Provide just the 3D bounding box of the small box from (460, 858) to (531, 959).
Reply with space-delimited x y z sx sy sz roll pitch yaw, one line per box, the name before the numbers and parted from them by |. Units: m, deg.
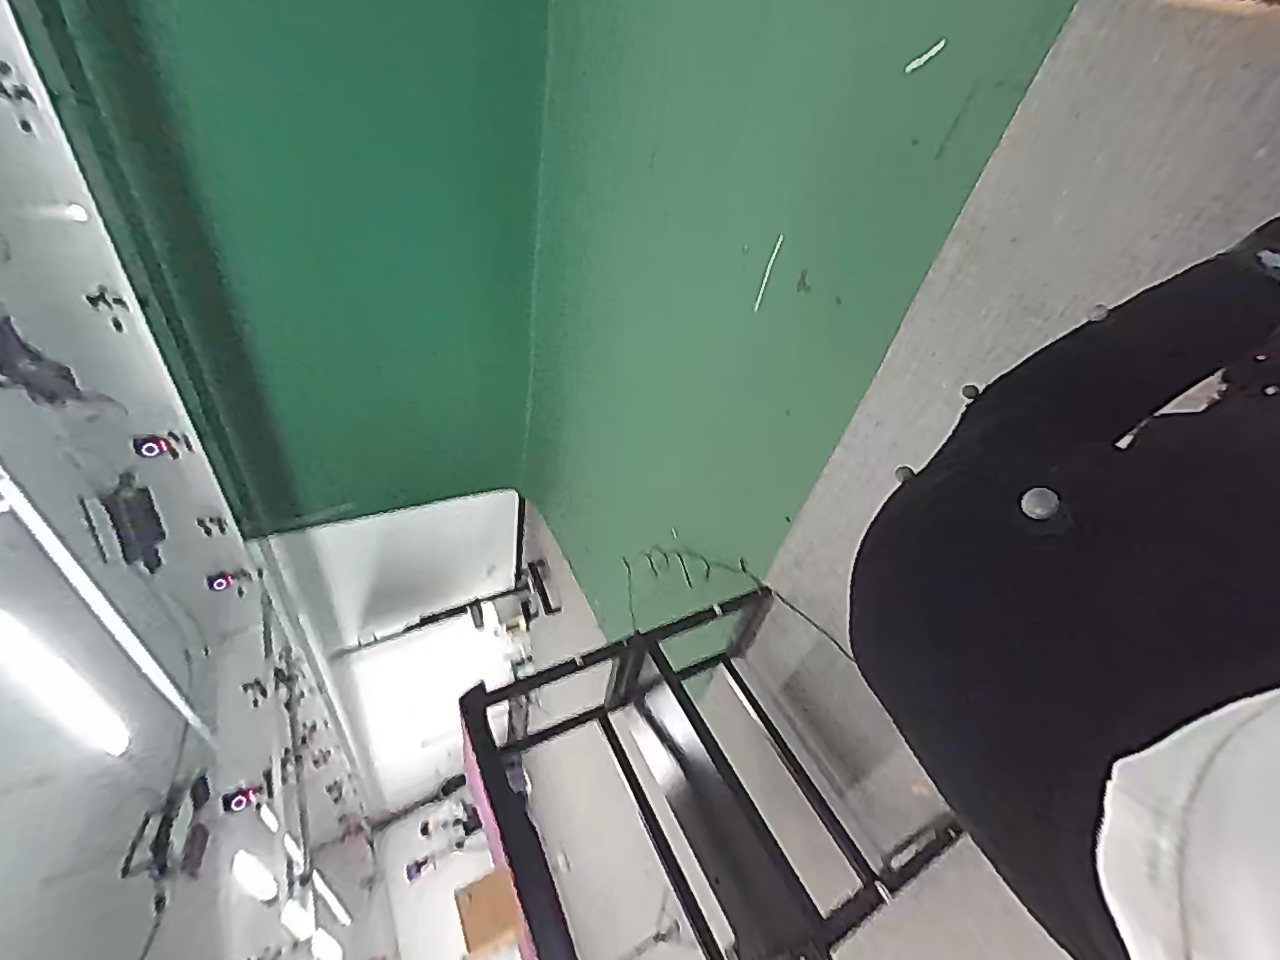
small box | -0.441 1.314 1.661 0.179 0.176 0.168 53 145 38
